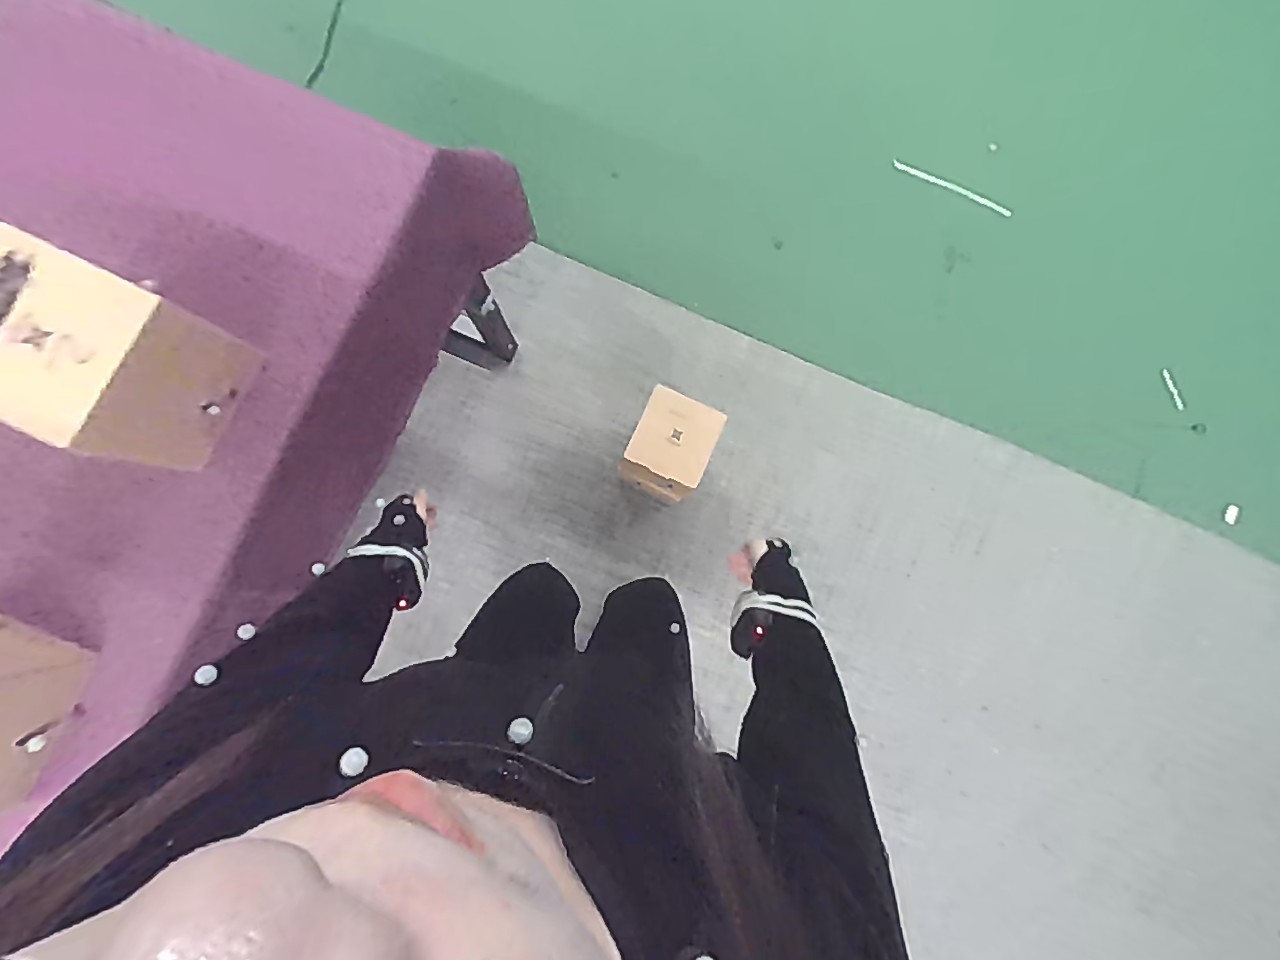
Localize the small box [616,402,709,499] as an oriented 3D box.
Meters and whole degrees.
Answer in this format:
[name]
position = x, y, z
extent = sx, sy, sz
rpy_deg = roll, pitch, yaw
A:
[small box]
position = 0.051, -0.065, 1.354
extent = 0.168, 0.176, 0.179
rpy_deg = 28, 82, 0
